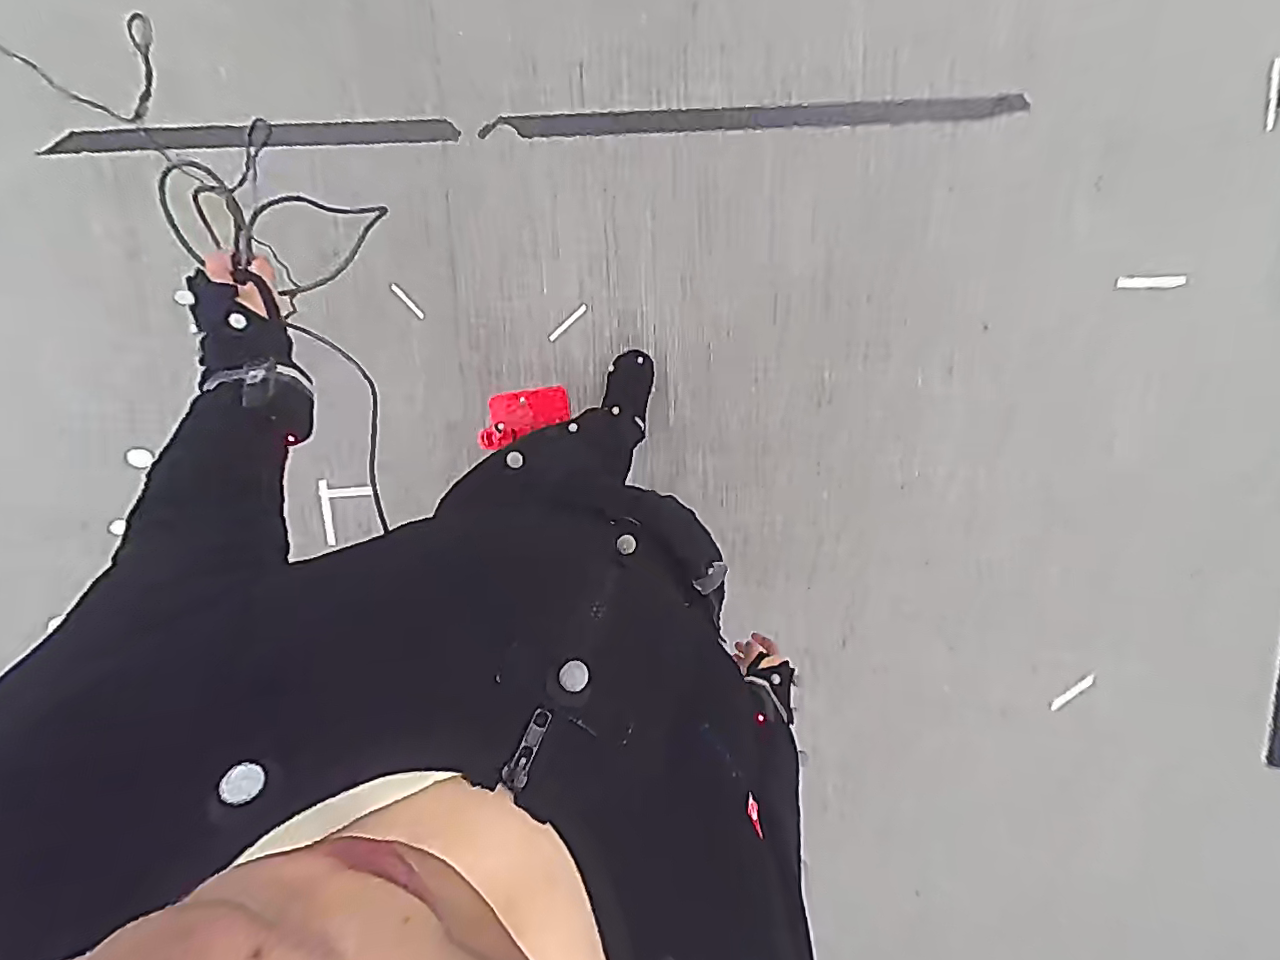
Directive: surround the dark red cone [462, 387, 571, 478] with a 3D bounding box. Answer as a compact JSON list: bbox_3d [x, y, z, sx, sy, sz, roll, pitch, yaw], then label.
[{"bbox_3d":[-0.281,-0.096,1.142,0.202,0.394,0.201,-9,96,4],"label":"dark red cone"}]
